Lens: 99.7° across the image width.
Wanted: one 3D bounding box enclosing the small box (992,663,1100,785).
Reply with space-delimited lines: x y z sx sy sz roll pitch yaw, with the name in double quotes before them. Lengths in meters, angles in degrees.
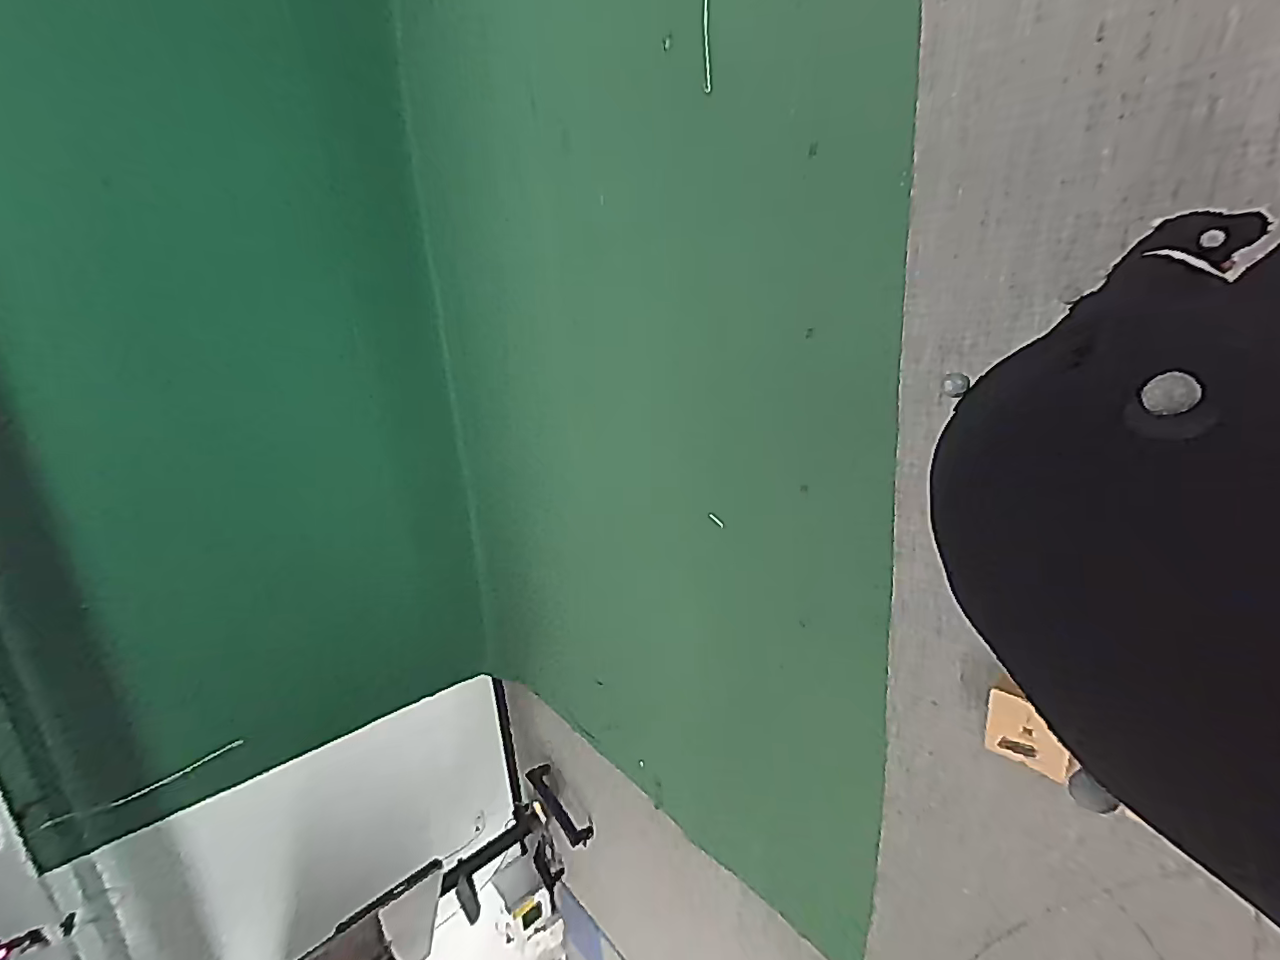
"small box" 0.979 0.576 1.303 0.168 0.176 0.179 12 111 49
